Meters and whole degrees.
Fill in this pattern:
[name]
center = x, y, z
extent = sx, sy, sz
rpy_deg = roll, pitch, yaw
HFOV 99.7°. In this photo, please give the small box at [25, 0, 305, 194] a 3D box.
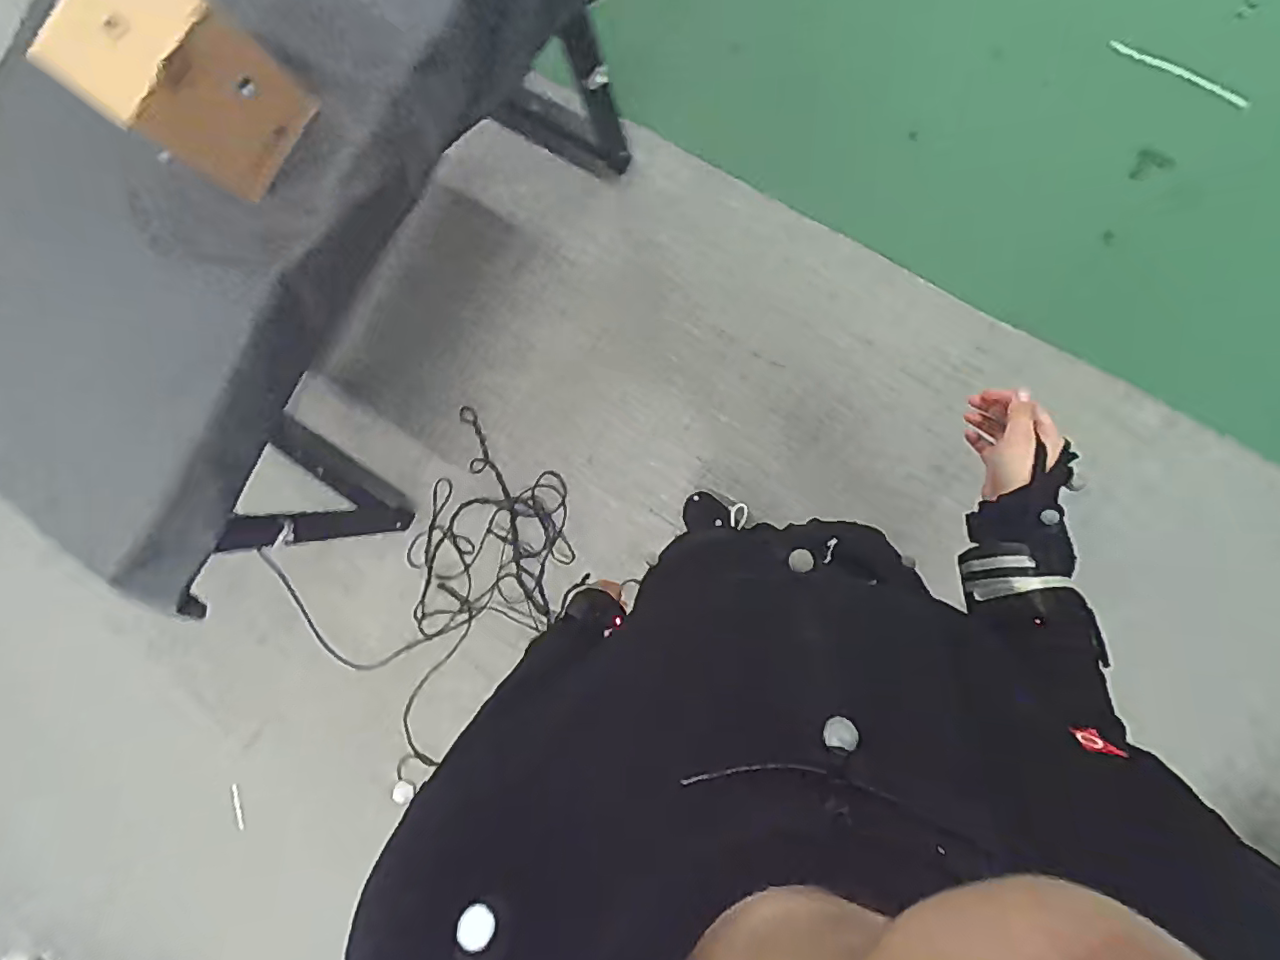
[small box]
center = -0.573, -0.497, 0.675
extent = 0.179, 0.176, 0.168
rpy_deg = 36, 93, 10
